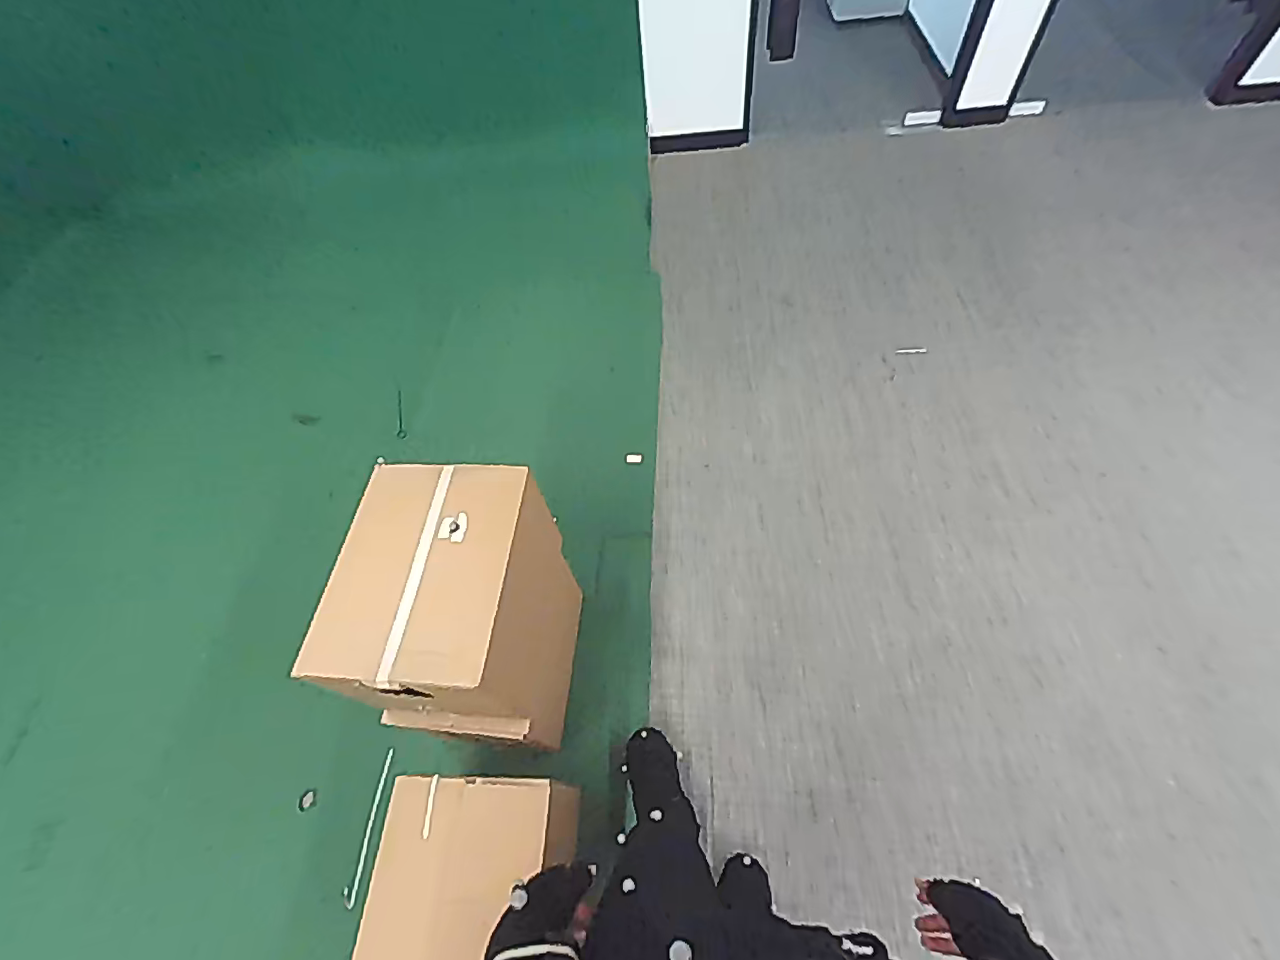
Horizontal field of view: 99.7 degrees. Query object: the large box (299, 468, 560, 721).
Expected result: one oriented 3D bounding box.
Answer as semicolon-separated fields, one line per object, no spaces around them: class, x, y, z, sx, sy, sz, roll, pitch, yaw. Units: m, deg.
large box;-0.364;0.229;1.064;0.320;0.320;0.408;2;56;6
